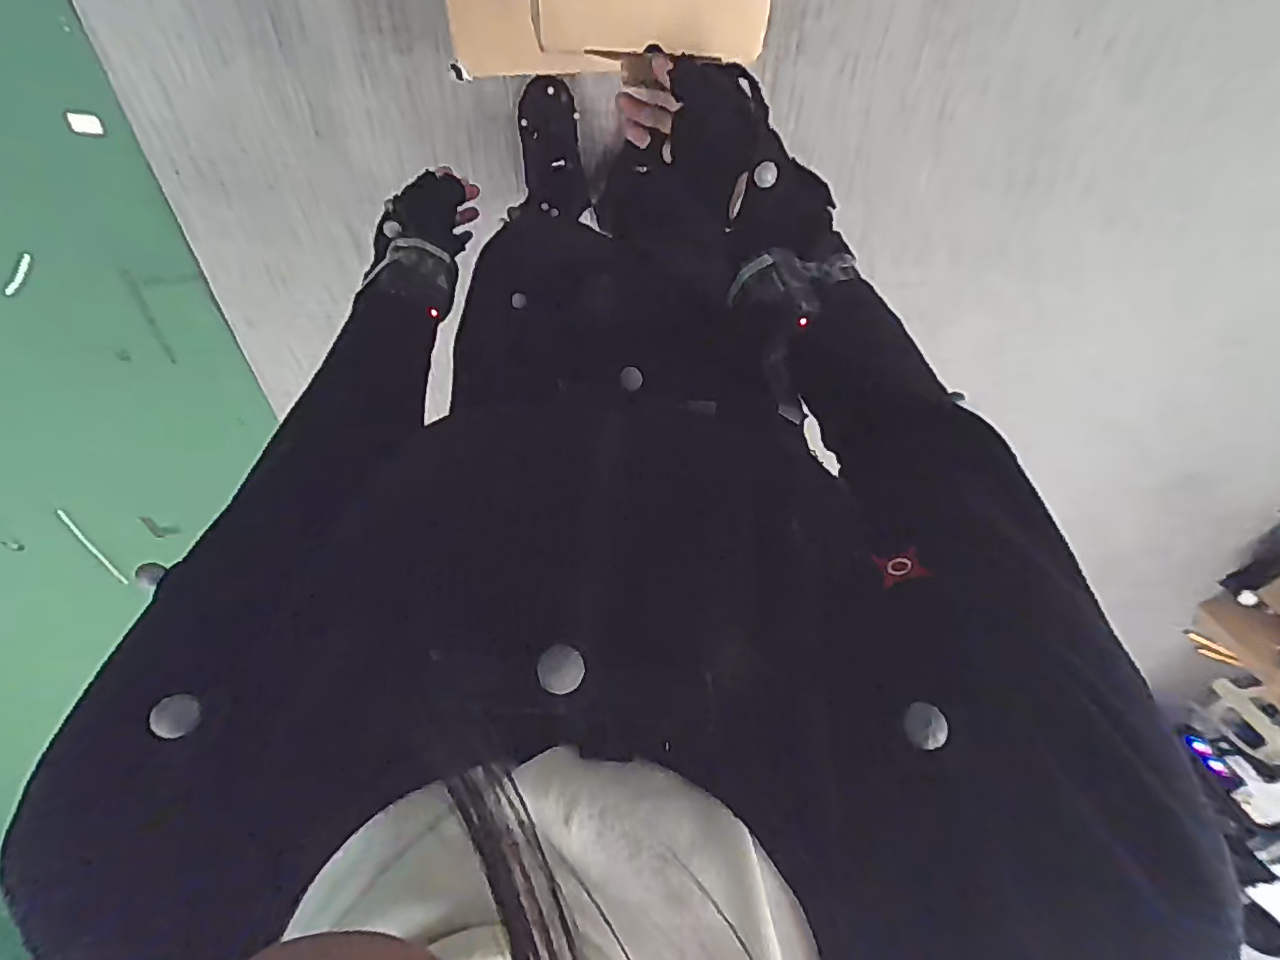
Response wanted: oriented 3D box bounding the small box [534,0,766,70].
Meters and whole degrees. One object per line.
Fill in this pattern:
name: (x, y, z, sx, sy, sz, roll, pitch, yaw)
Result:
small box: (0.002, -0.430, 0.397, 0.168, 0.176, 0.179, -4, 137, -9)
